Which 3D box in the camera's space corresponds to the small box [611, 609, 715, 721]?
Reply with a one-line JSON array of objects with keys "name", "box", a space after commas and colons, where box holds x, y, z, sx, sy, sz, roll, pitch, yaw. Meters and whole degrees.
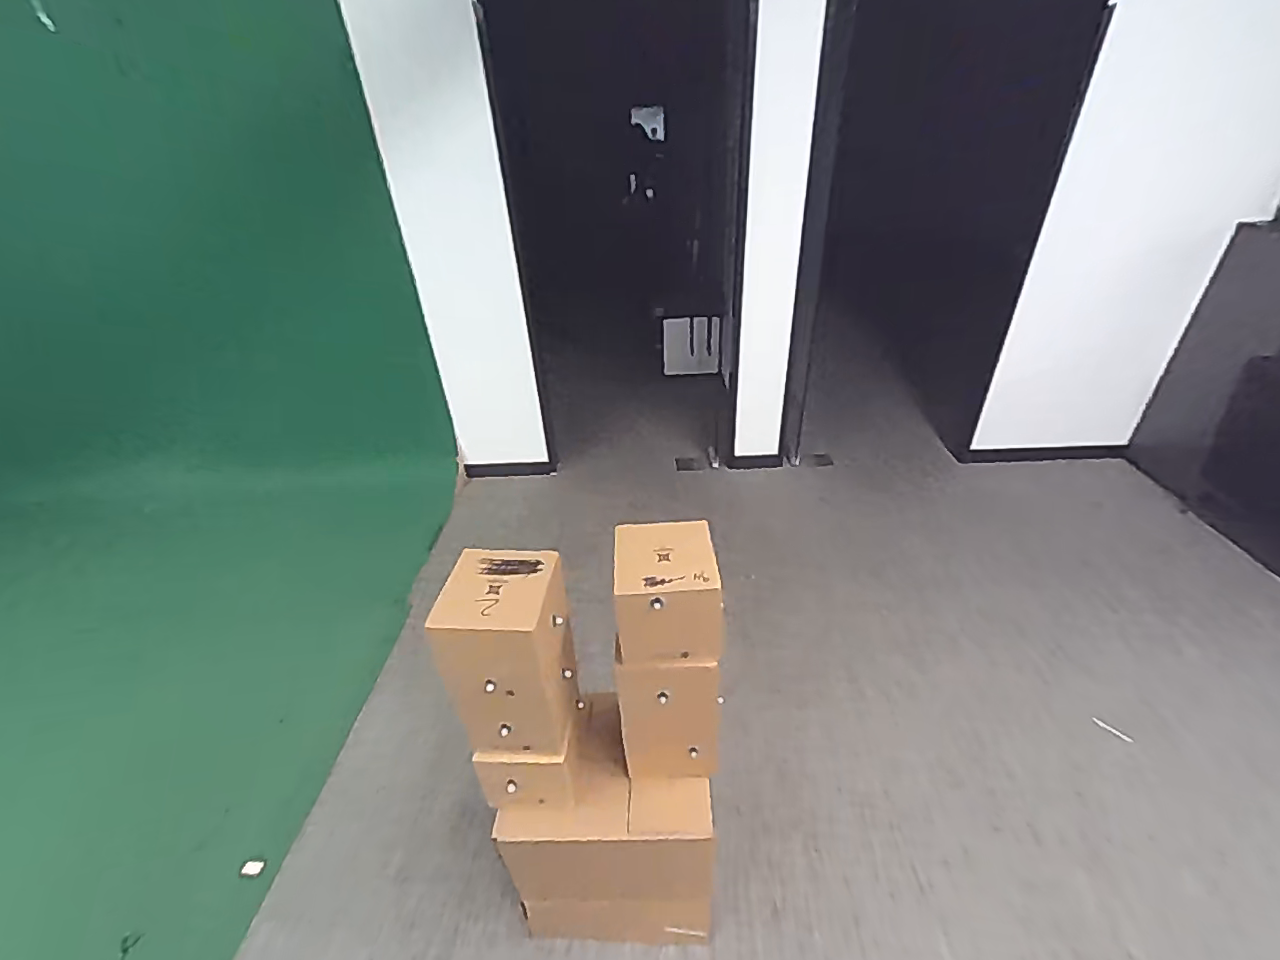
[{"name": "small box", "box": [0.045, 0.328, 1.009, 0.179, 0.176, 0.168, -2, 33, 4]}]

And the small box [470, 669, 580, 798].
[{"name": "small box", "box": [-0.214, 0.499, 1.064, 0.168, 0.176, 0.179, 0, 34, 3]}]

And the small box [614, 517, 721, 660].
[{"name": "small box", "box": [0.045, 0.184, 0.929, 0.168, 0.176, 0.179, -3, 33, 1]}]

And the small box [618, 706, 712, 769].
[{"name": "small box", "box": [0.051, 0.464, 1.100, 0.179, 0.176, 0.168, -3, 33, 3]}]
